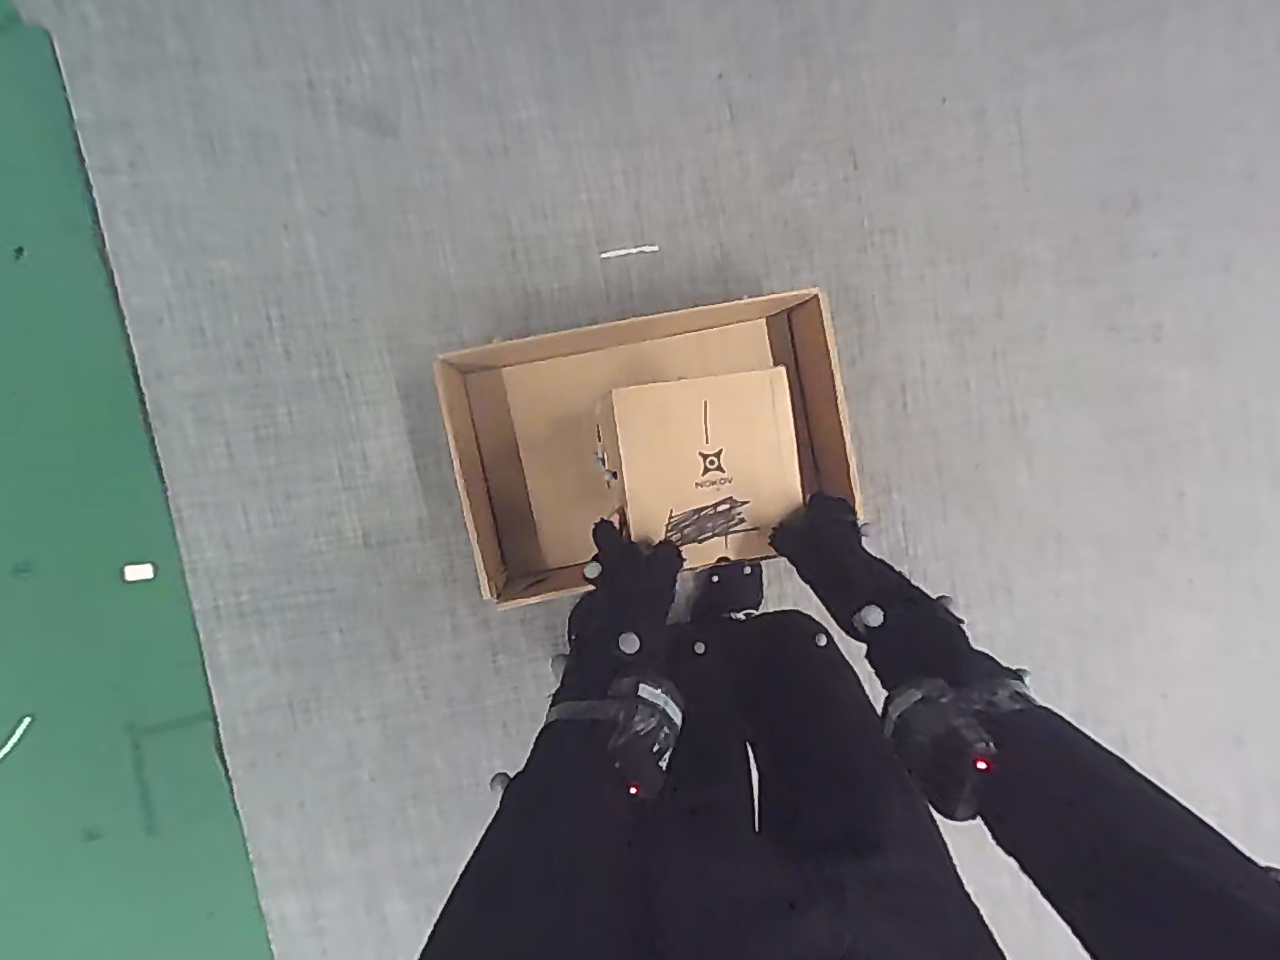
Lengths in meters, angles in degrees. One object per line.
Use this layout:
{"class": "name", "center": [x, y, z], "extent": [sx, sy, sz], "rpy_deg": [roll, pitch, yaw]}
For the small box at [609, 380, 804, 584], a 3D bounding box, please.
{"class": "small box", "center": [0.059, -0.002, 0.580], "extent": [0.168, 0.176, 0.179], "rpy_deg": [-8, 92, -5]}
